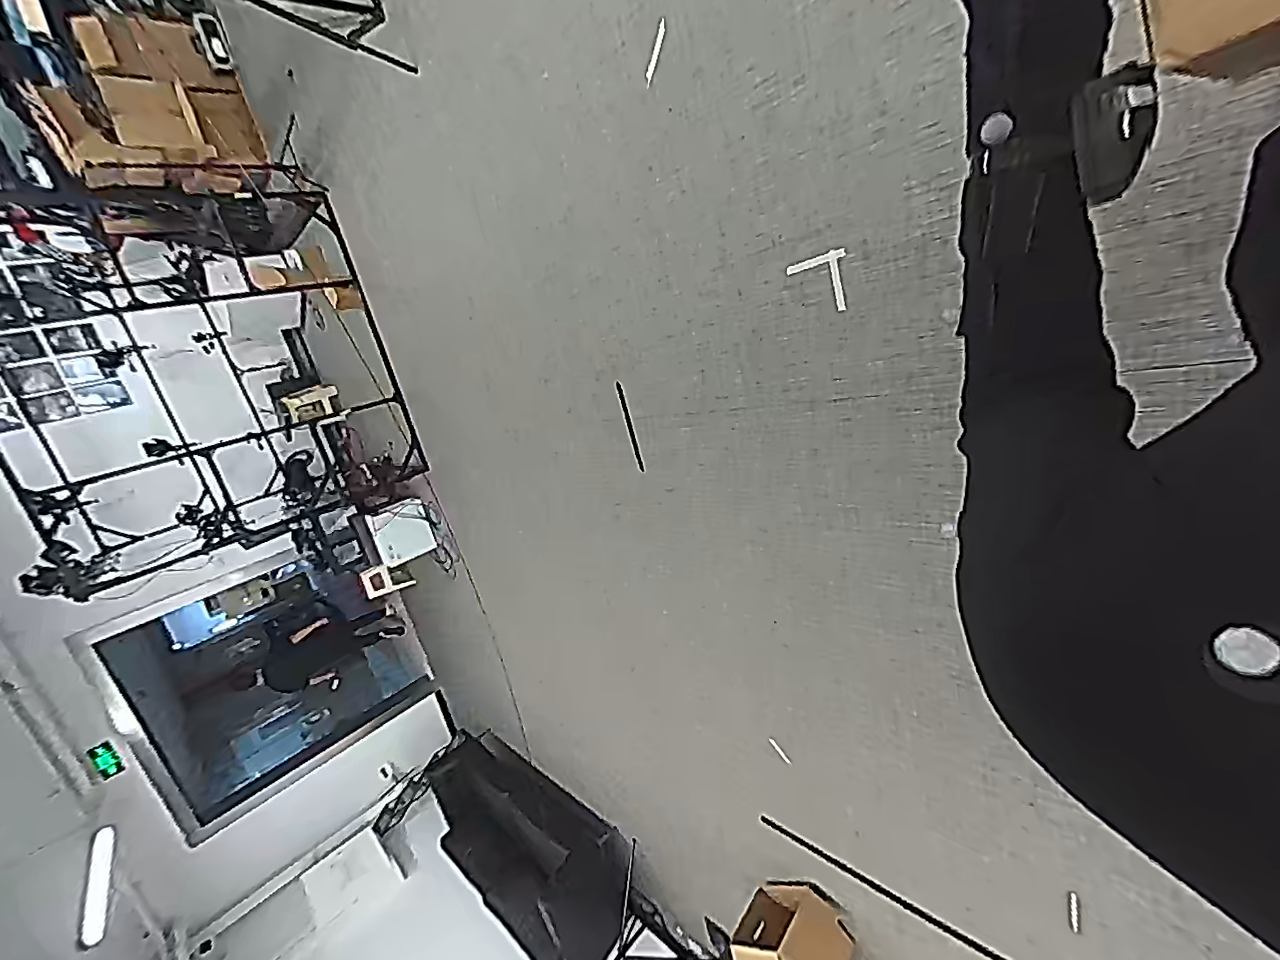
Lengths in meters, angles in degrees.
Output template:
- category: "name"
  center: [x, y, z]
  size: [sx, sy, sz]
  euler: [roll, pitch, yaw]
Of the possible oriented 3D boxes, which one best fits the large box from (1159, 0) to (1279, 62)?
- category: "large box"
  center: [0.442, -0.438, 0.180]
  size: [0.408, 0.320, 0.320]
  euler: [-6, 110, 54]
